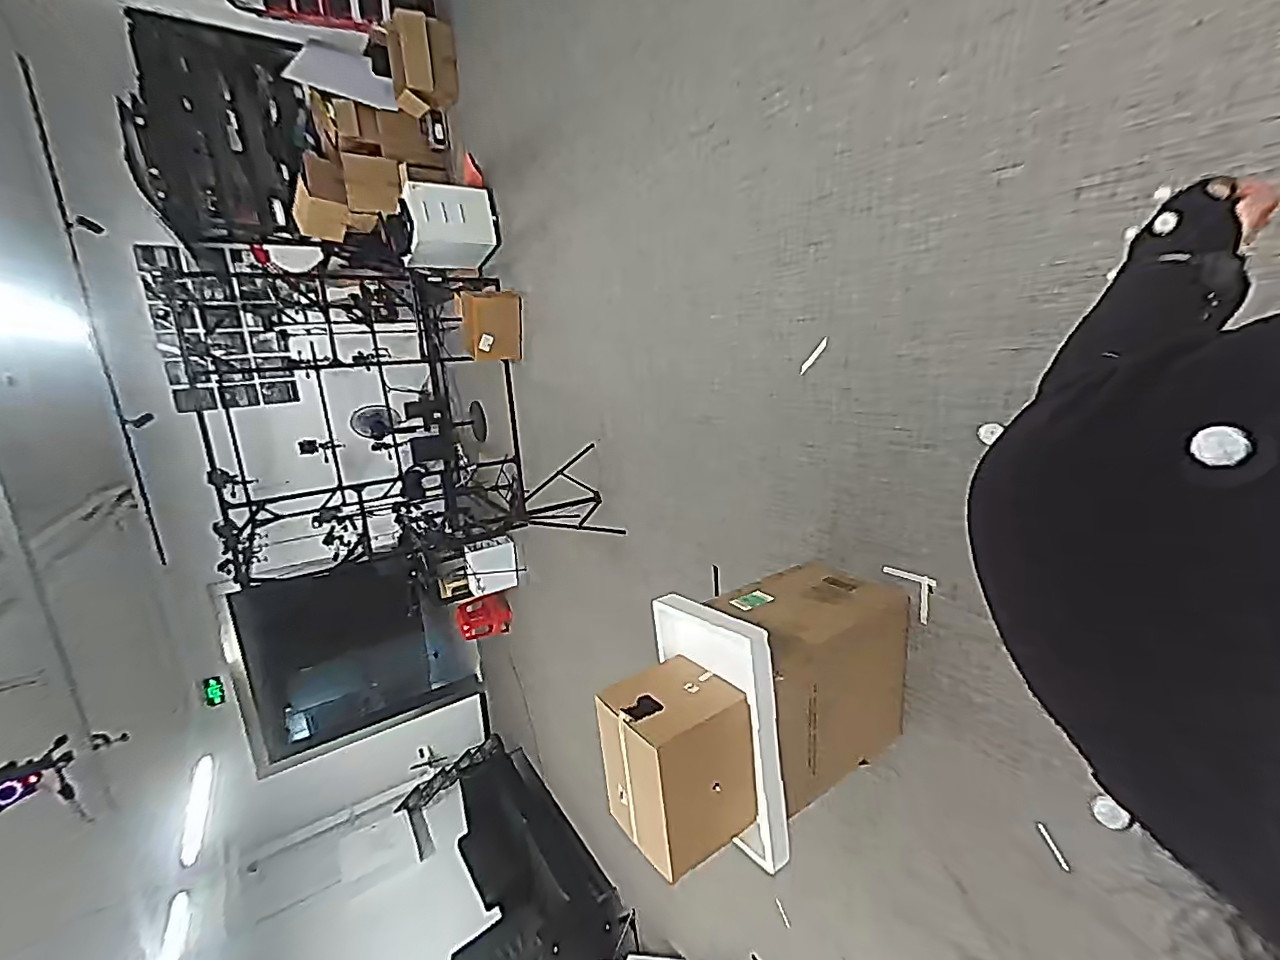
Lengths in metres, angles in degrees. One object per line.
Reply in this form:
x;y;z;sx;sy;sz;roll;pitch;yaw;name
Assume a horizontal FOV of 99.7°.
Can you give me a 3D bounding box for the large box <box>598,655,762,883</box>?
0.113;0.774;1.520;0.320;0.320;0.408;11;112;57;large box
